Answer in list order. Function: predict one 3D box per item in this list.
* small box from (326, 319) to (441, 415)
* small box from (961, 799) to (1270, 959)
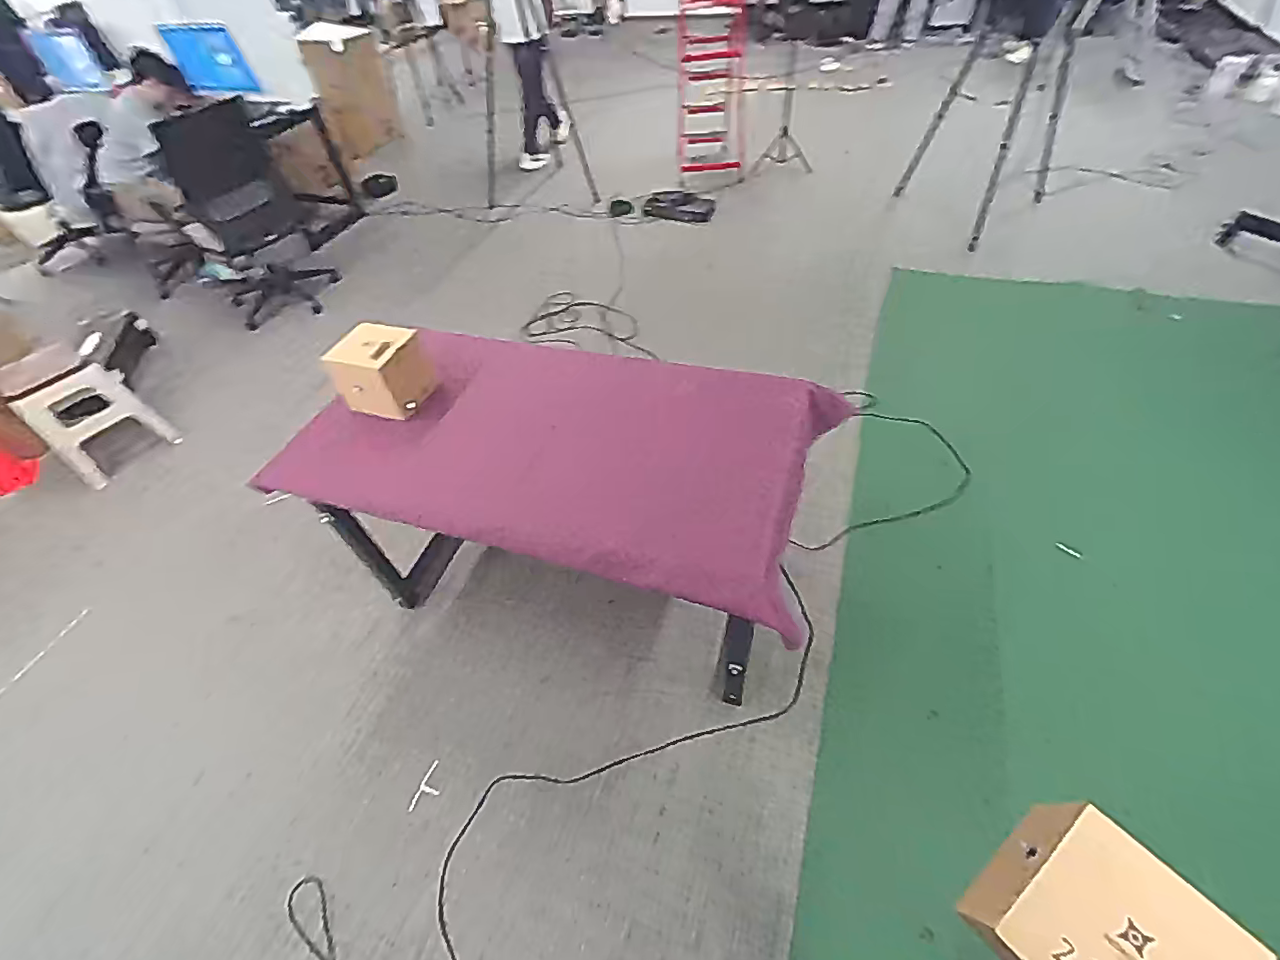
[{"bbox_3d":[-0.647,-0.287,1.390,0.179,0.176,0.168,12,51,17],"label":"small box"},{"bbox_3d":[0.490,0.484,0.592,0.179,0.176,0.168,-41,57,-11],"label":"small box"}]
